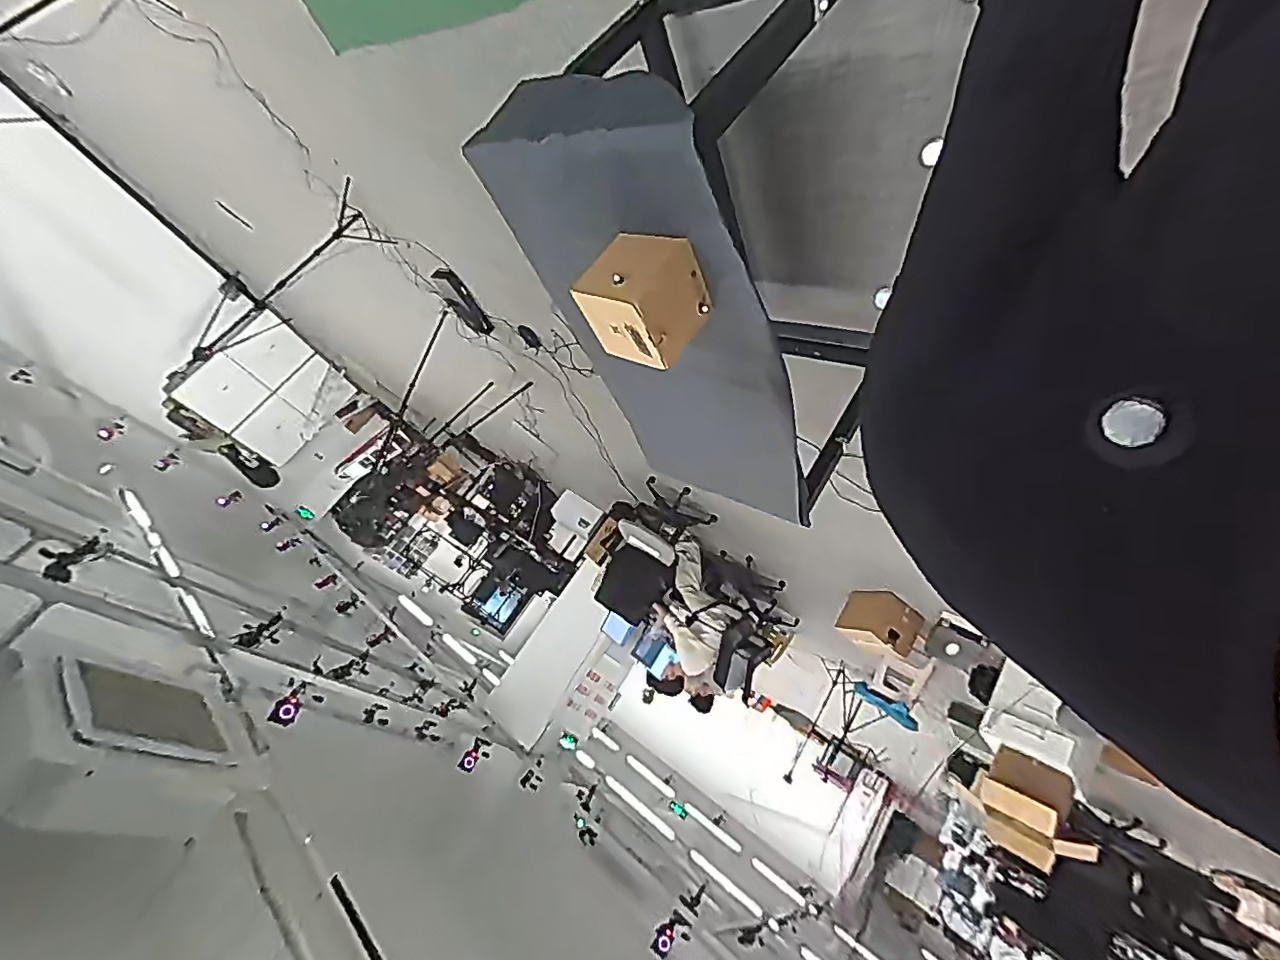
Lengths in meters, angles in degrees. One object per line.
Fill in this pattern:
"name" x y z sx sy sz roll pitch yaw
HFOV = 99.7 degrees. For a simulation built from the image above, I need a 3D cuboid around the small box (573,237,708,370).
"small box" 0.012 -0.342 1.039 0.179 0.176 0.168 25 161 37
